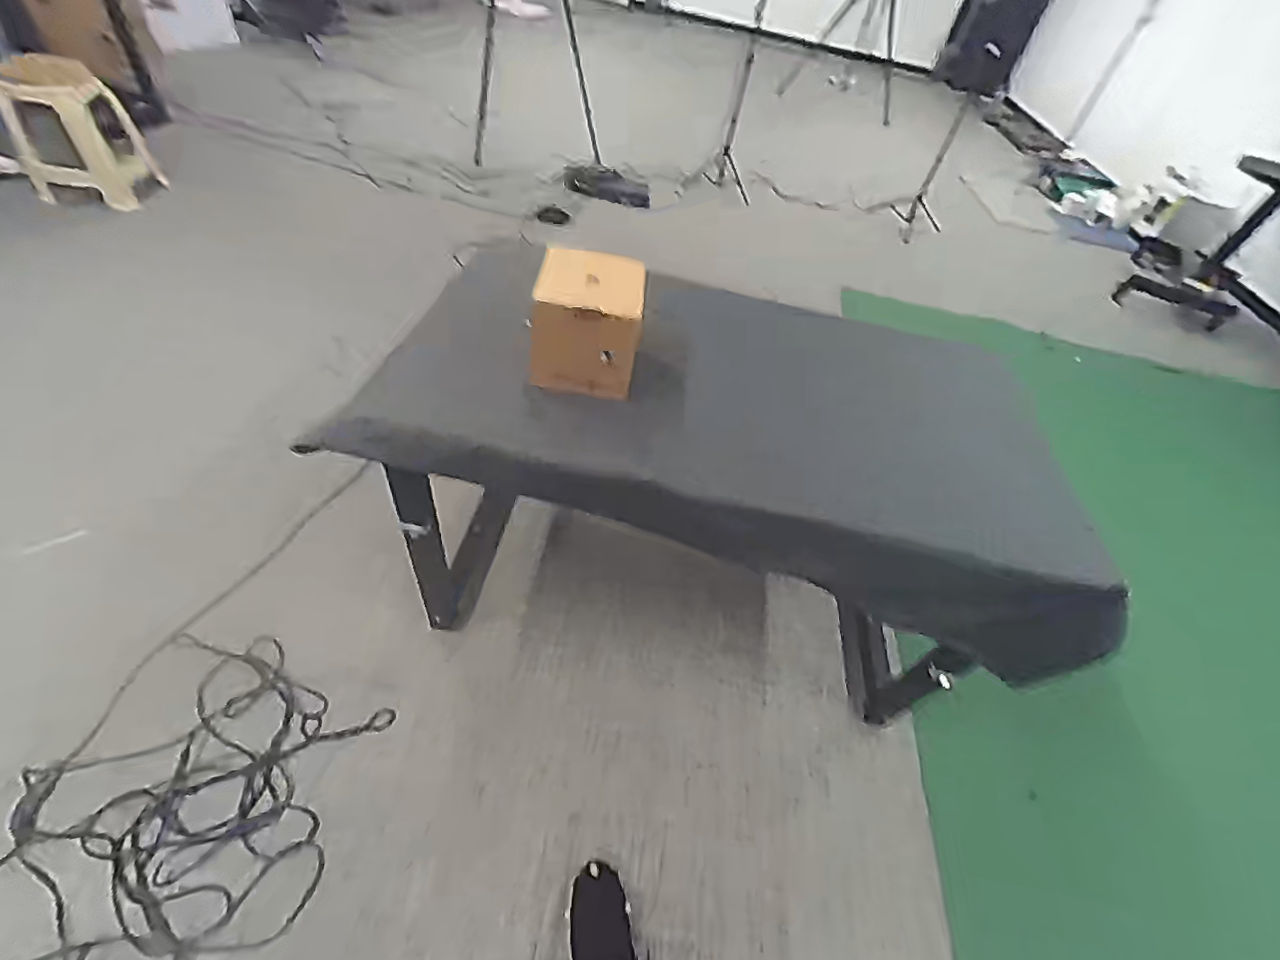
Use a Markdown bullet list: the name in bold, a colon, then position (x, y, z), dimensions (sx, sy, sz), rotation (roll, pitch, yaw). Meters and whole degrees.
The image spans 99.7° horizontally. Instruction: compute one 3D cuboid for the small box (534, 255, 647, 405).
- **small box**: position (-0.085, -0.251, 0.919), dimensions (0.168, 0.176, 0.179), rotation (9, 46, -6)
